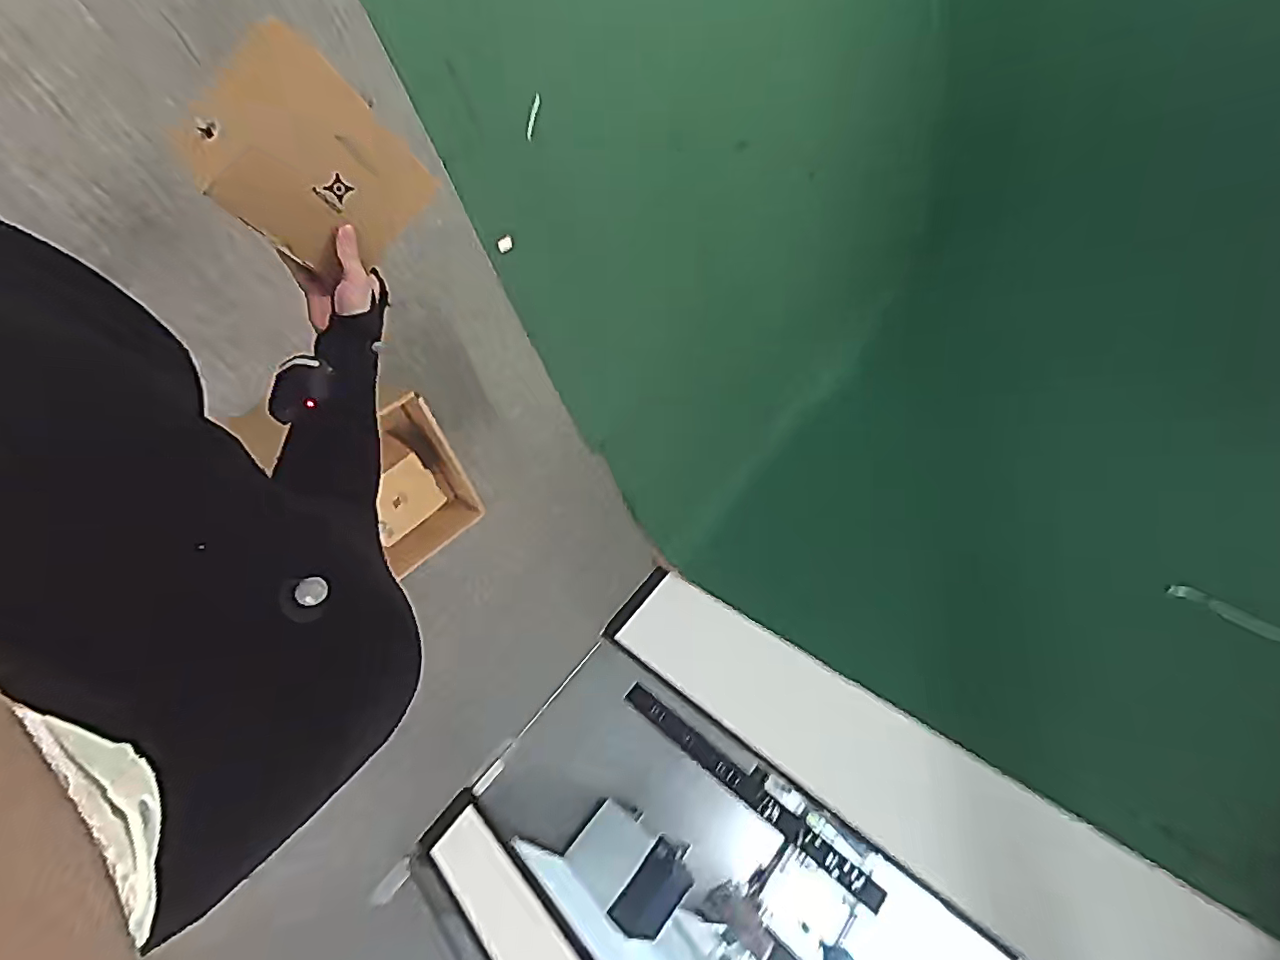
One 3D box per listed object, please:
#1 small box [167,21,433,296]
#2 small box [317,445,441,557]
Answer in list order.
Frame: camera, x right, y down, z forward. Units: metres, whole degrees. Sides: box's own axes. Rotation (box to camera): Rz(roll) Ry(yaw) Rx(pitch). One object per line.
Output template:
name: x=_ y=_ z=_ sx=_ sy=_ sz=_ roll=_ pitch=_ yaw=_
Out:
small box: x=-0.378 y=-0.351 z=0.602 sx=0.179 sy=0.176 sz=0.168 roll=-46 pitch=153 yaw=3
small box: x=-0.618 y=0.043 z=1.282 sx=0.179 sy=0.176 sz=0.168 roll=-43 pitch=137 yaw=-26
